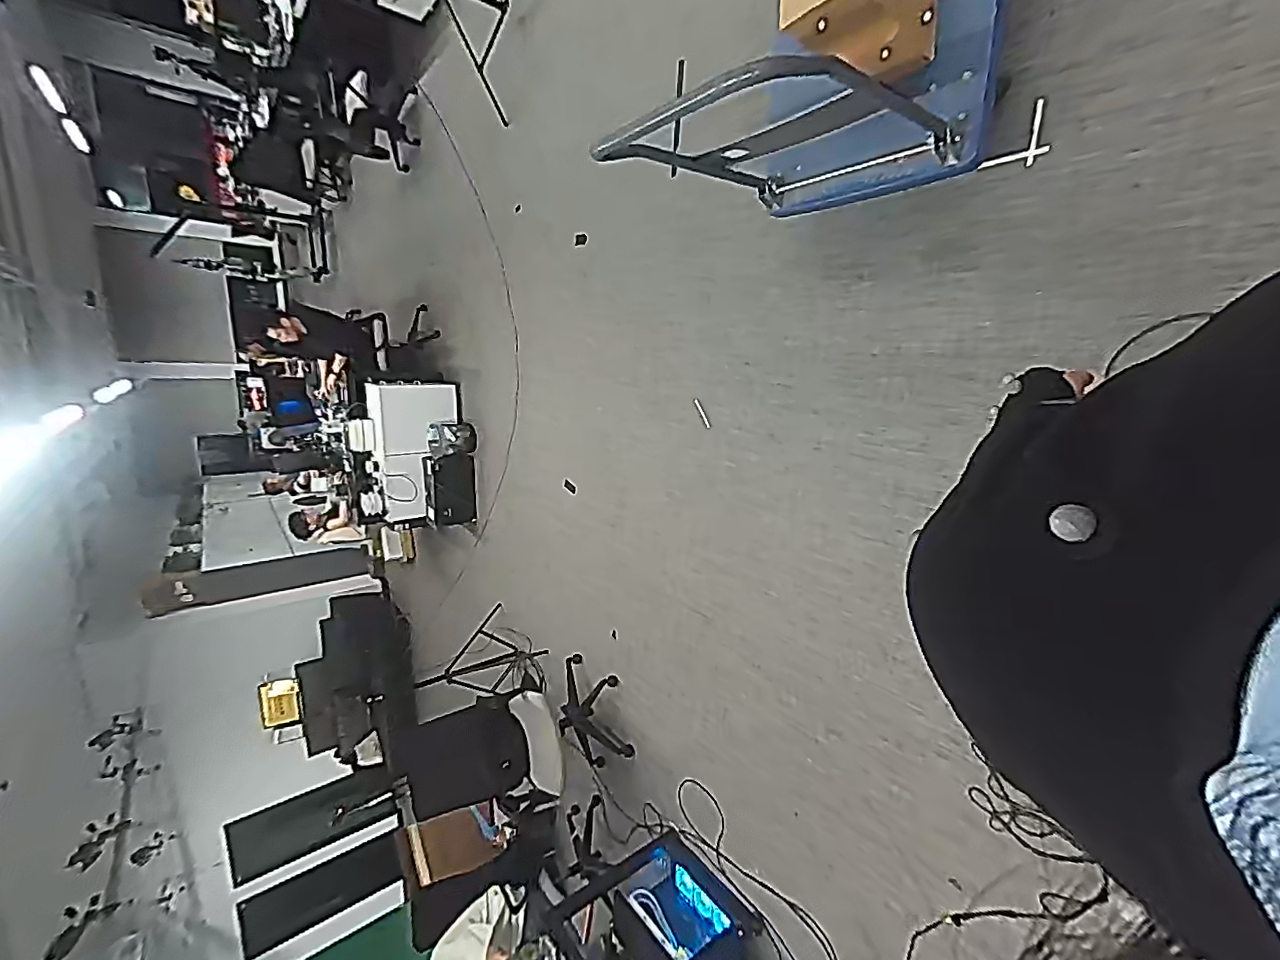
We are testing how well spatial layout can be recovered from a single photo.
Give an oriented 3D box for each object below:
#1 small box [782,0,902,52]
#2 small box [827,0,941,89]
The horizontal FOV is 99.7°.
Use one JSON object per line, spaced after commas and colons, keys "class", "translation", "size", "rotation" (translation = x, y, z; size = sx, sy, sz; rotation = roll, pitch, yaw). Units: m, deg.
{"class": "small box", "translation": [0.415, -1.029, 1.106], "size": [0.179, 0.176, 0.168], "rotation": [11, 105, 51]}
{"class": "small box", "translation": [0.545, -1.022, 1.210], "size": [0.179, 0.176, 0.168], "rotation": [10, 105, 51]}
